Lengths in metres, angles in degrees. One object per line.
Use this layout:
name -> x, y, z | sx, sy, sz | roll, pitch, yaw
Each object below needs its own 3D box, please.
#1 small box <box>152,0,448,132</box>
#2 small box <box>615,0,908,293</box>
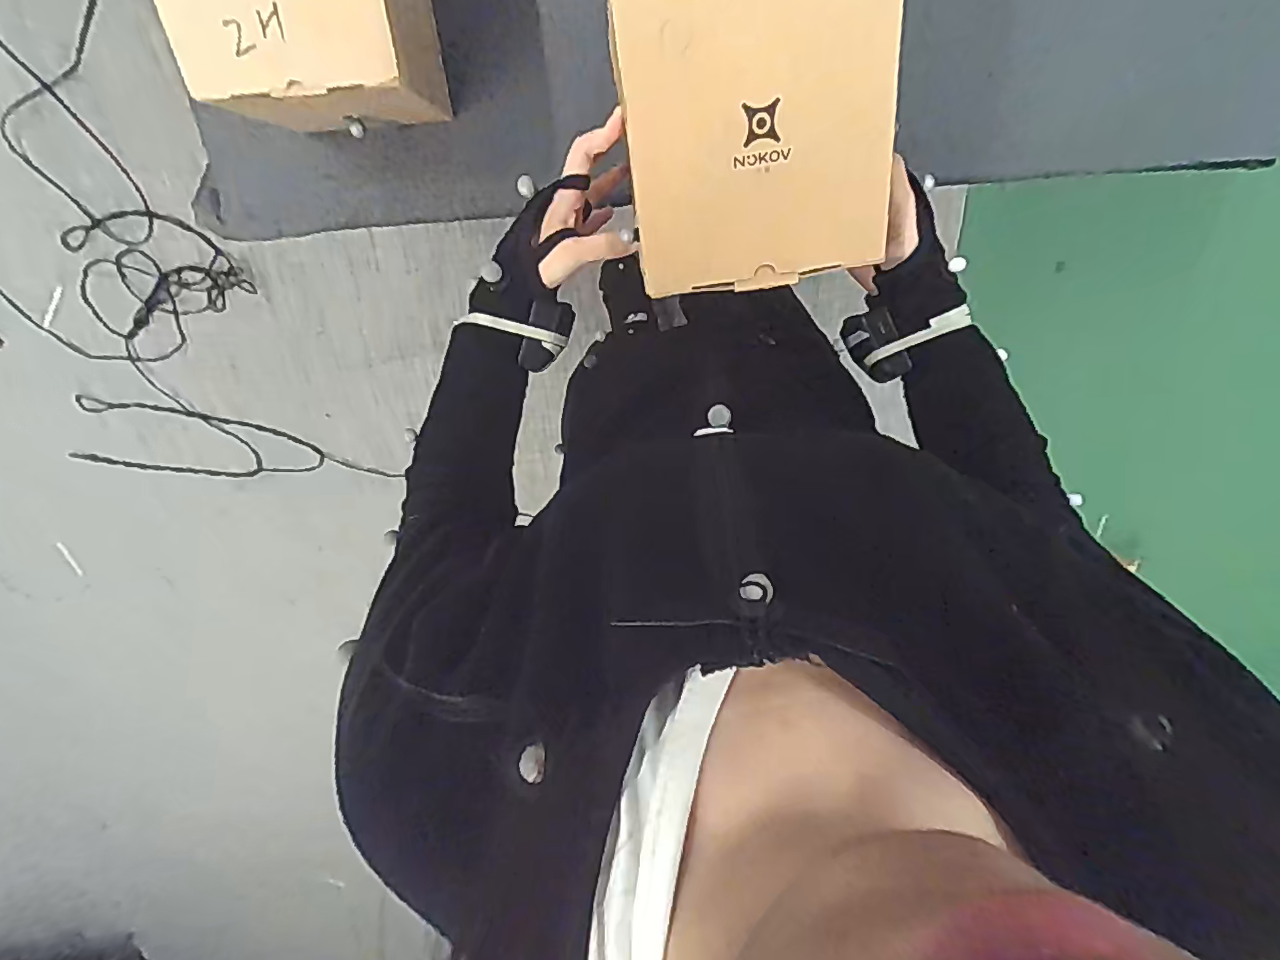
small box -> -0.278, -0.412, 0.454 | 0.168, 0.176, 0.179 | -5, 116, -2
small box -> 0.073, -0.250, 0.402 | 0.168, 0.176, 0.179 | -8, 118, 2
